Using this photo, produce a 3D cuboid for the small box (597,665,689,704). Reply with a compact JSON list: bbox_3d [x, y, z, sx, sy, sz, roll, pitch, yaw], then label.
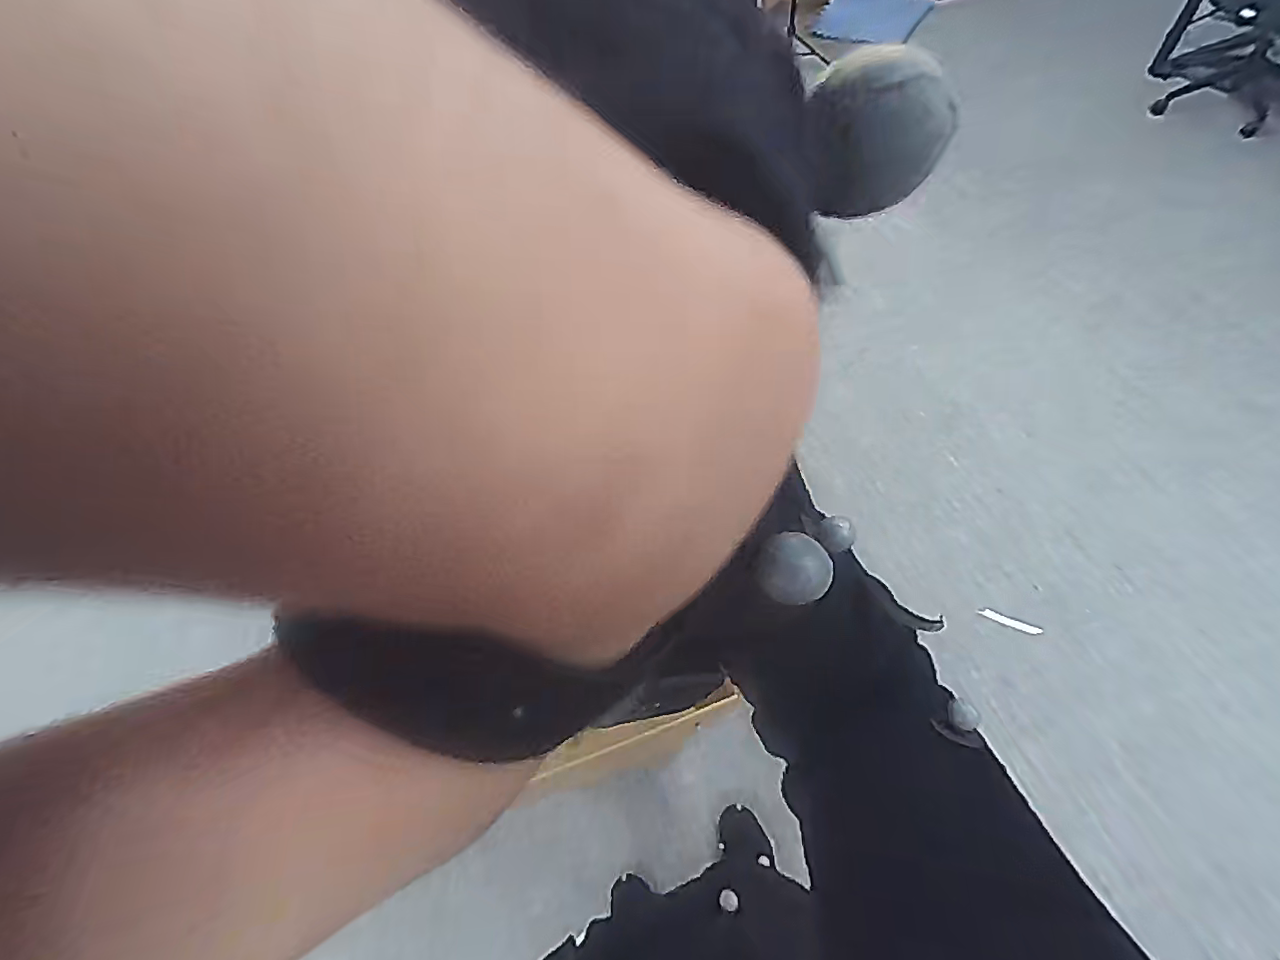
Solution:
[{"bbox_3d":[0.000,0.340,1.089,0.168,0.176,0.179,-14,56,-2],"label":"small box"}]
